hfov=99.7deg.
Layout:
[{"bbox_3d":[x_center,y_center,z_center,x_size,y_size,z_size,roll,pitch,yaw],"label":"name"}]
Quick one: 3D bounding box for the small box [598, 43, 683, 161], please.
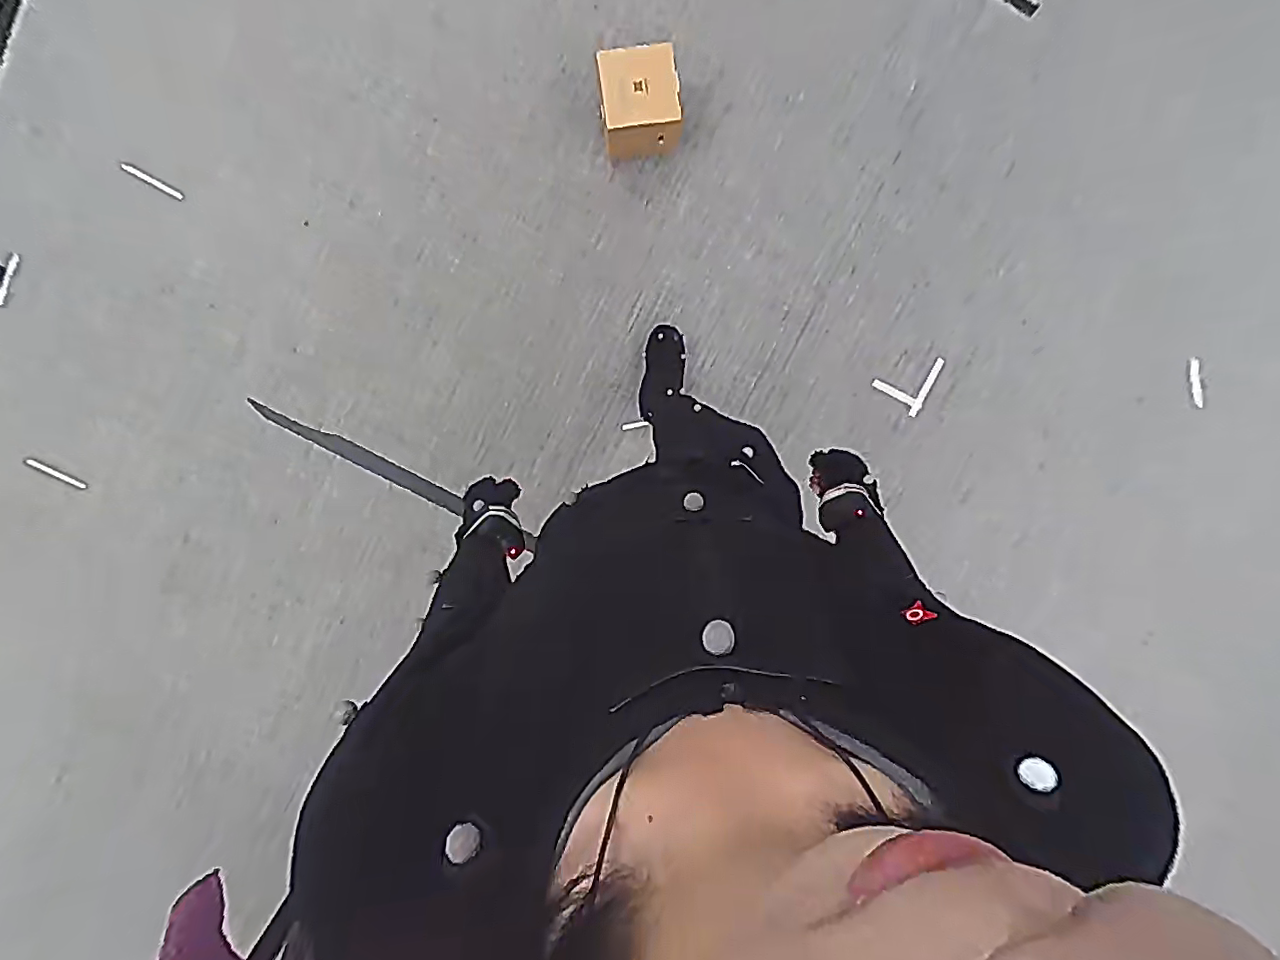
[{"bbox_3d":[-0.002,-0.892,1.292,0.179,0.176,0.168,-9,98,-1],"label":"small box"}]
